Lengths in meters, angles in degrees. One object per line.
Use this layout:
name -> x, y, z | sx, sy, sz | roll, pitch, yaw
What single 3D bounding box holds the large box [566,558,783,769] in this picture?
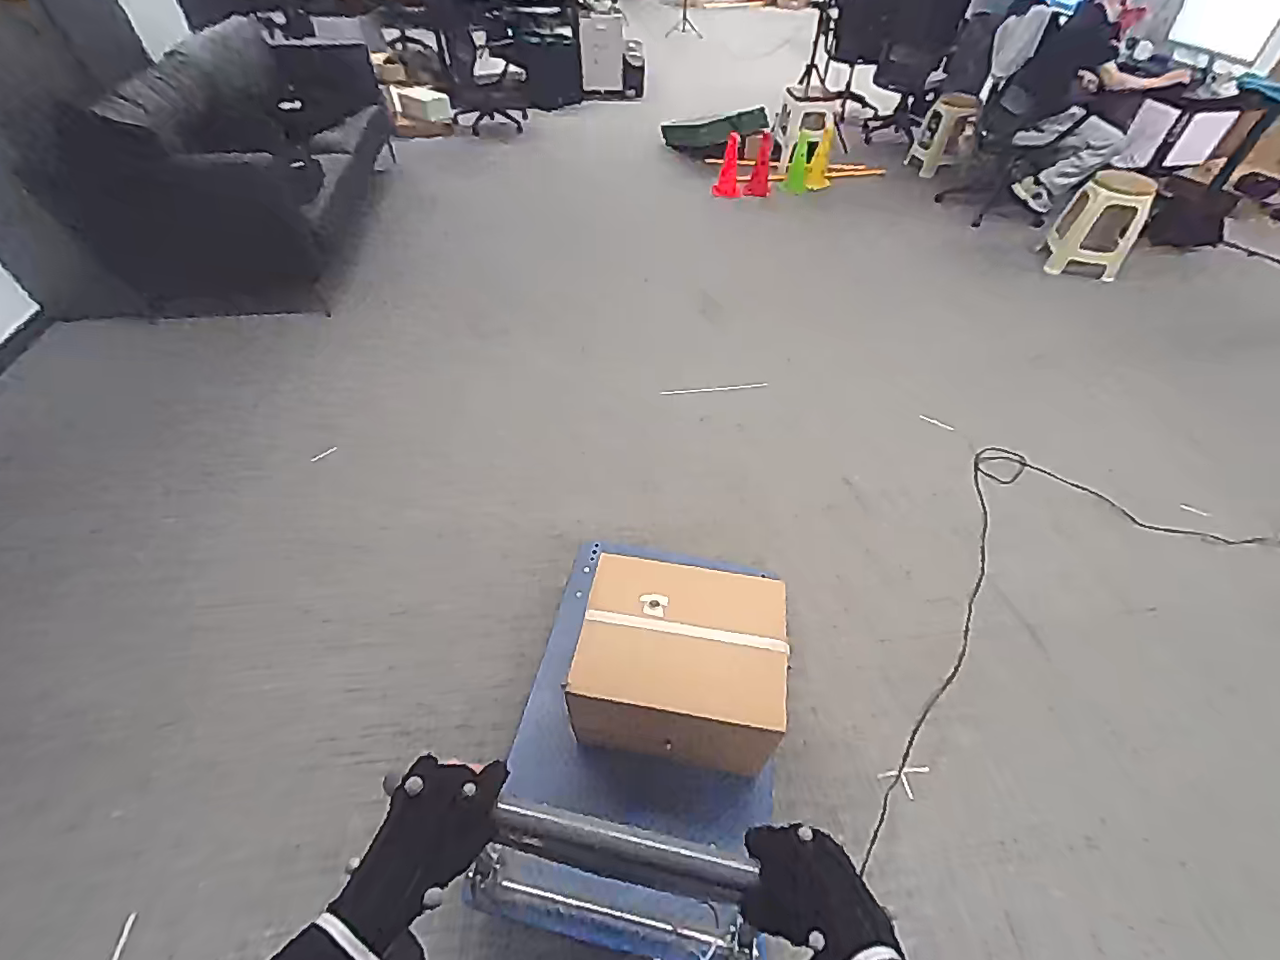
large box -> 0.086, 0.406, 1.191 | 0.408, 0.320, 0.320 | 7, 48, 7
